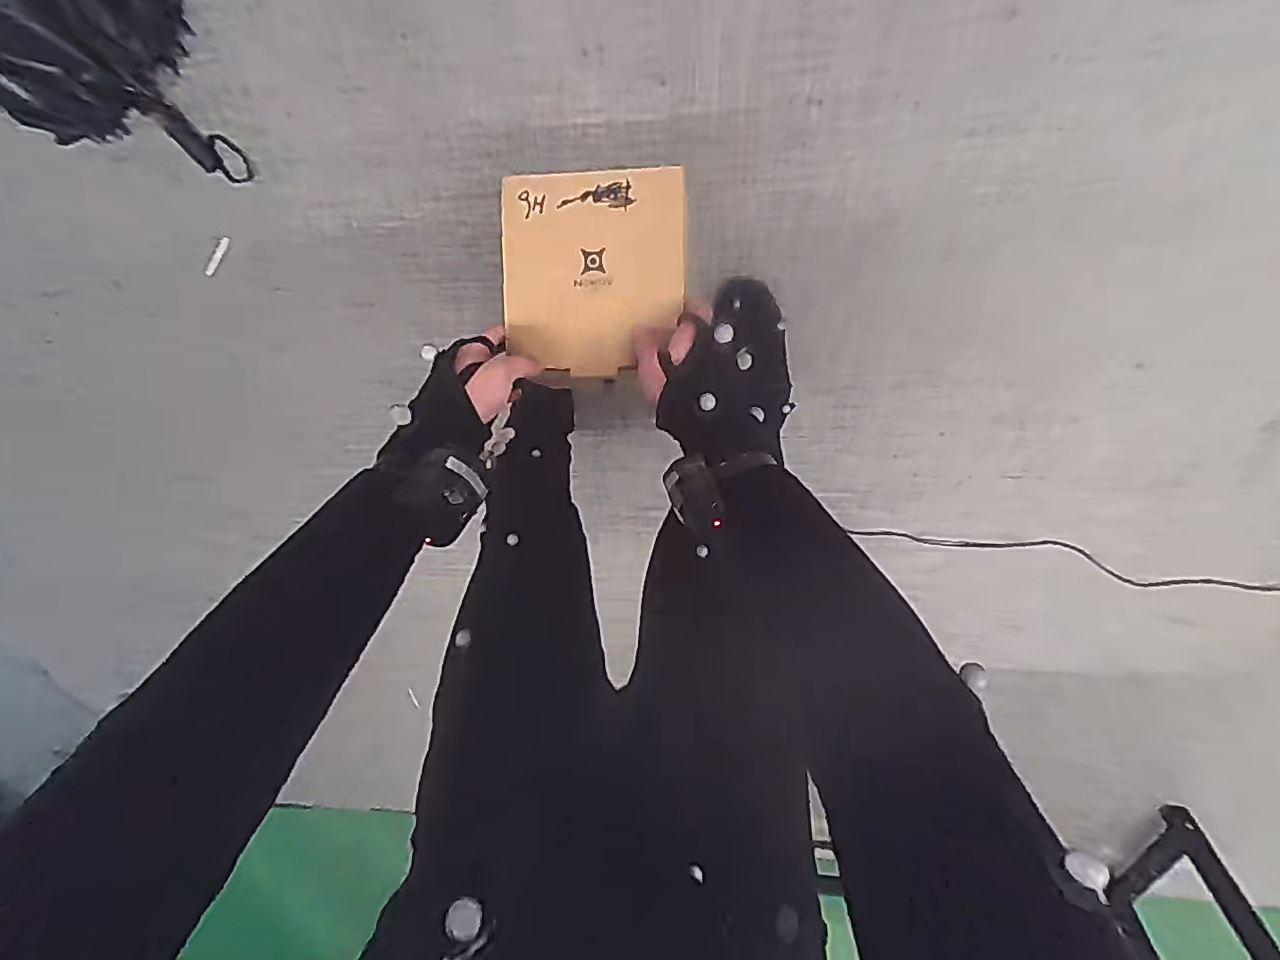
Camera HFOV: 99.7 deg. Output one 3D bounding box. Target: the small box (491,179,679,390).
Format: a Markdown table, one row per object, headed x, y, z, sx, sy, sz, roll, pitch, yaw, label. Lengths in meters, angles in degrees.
| x | y | z | sx | sy | sz | roll | pitch | yaw | label |
| --- | --- | --- | --- | --- | --- | --- | --- | --- | --- |
| -0.043 | -0.183 | 0.561 | 0.168 | 0.176 | 0.179 | -1 | 96 | 4 | small box |
